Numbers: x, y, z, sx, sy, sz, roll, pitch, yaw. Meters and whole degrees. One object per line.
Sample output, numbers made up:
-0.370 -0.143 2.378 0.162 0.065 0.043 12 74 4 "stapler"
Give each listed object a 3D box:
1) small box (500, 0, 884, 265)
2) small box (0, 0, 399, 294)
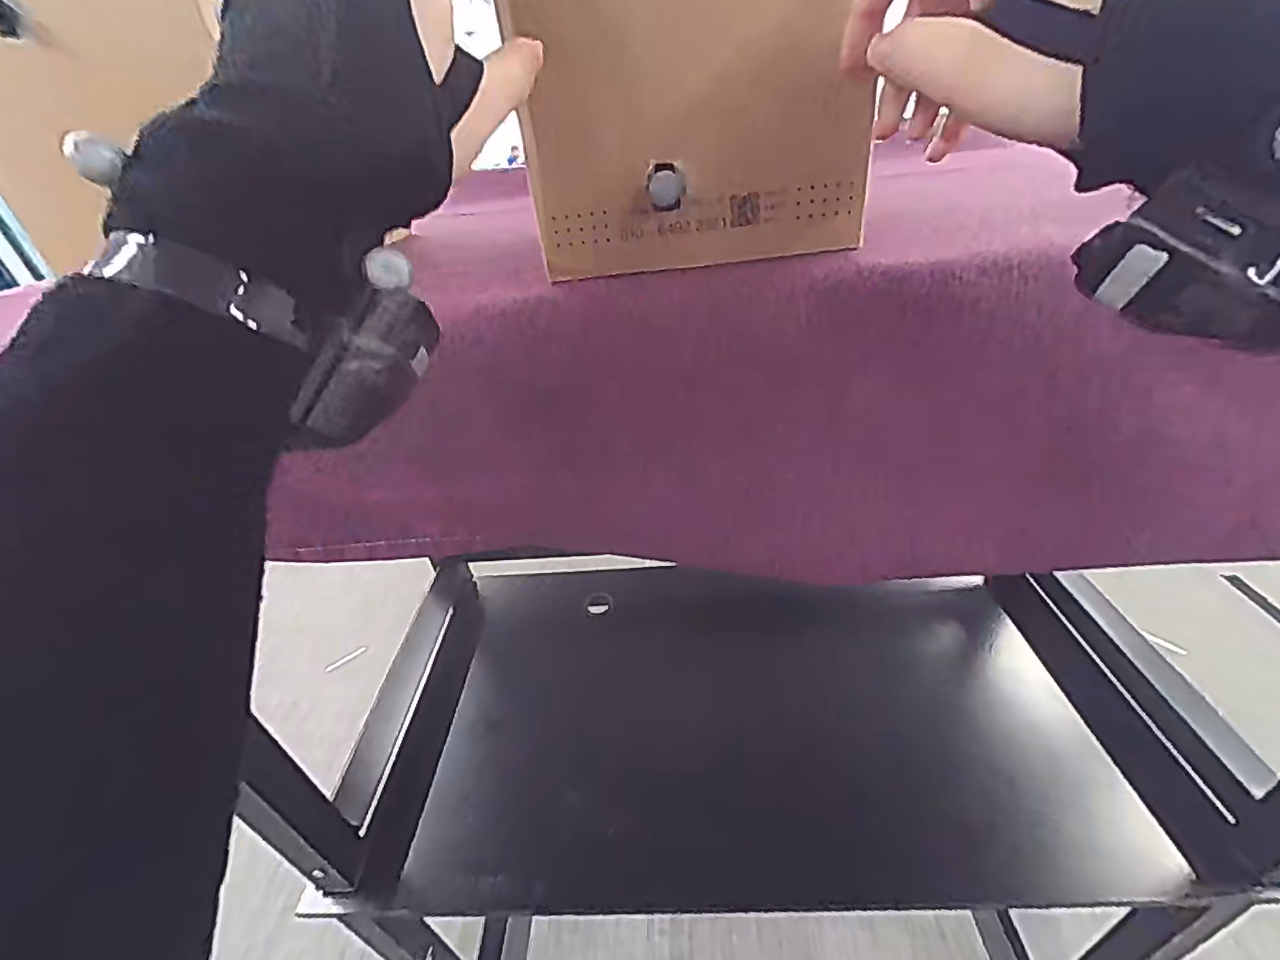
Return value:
0.022 -0.229 0.304 0.168 0.176 0.179 -6 34 3 "small box"
-0.291 -0.236 0.371 0.168 0.176 0.179 -5 33 4 "small box"
